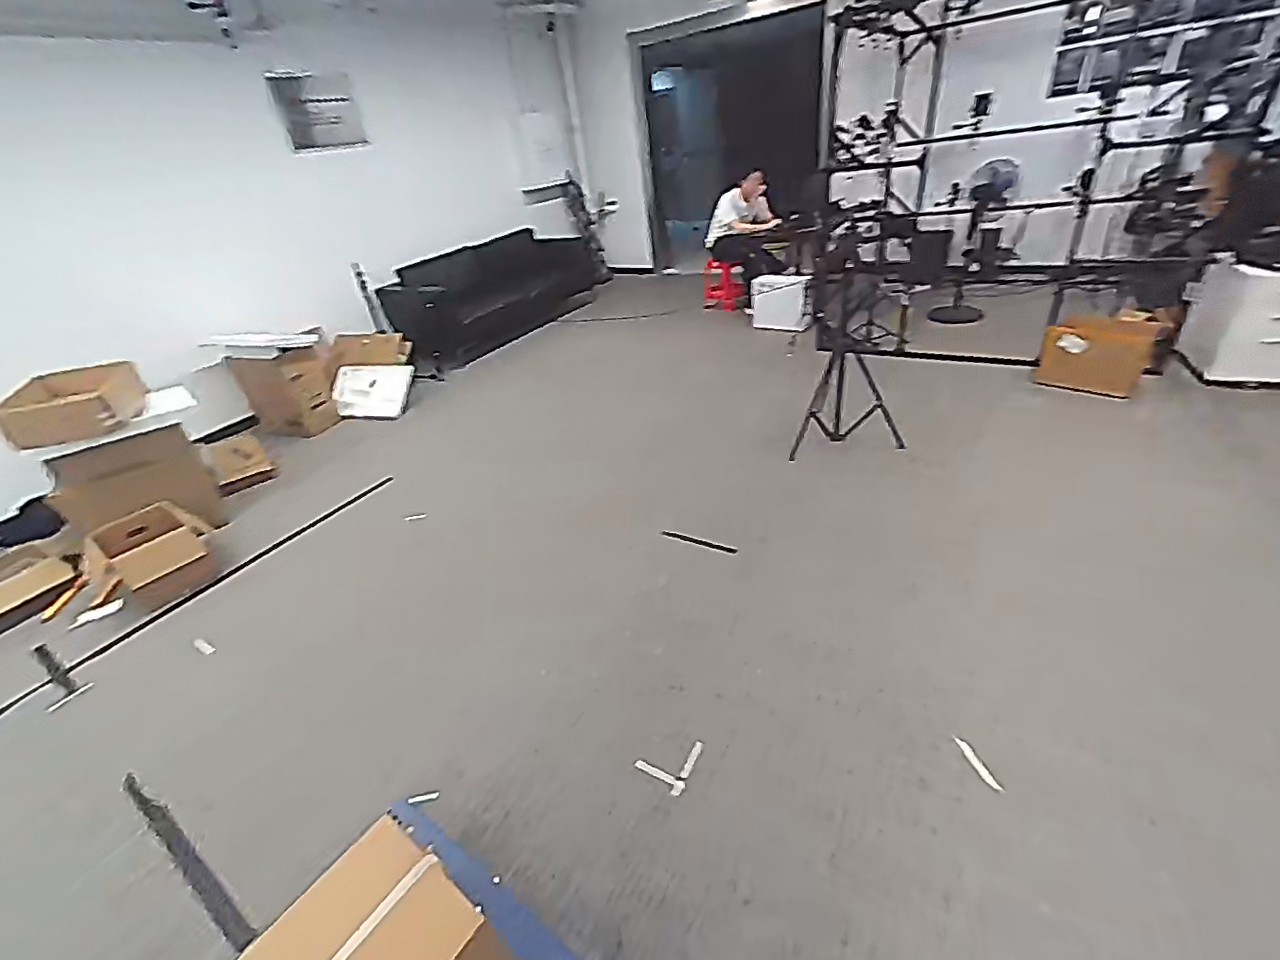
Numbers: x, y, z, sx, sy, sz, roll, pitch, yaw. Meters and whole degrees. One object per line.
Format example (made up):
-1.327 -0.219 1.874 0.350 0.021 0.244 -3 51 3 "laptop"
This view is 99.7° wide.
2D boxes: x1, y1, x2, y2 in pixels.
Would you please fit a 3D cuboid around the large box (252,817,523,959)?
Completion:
-0.469 0.929 0.955 0.320 0.320 0.408 15 39 35 "large box"
